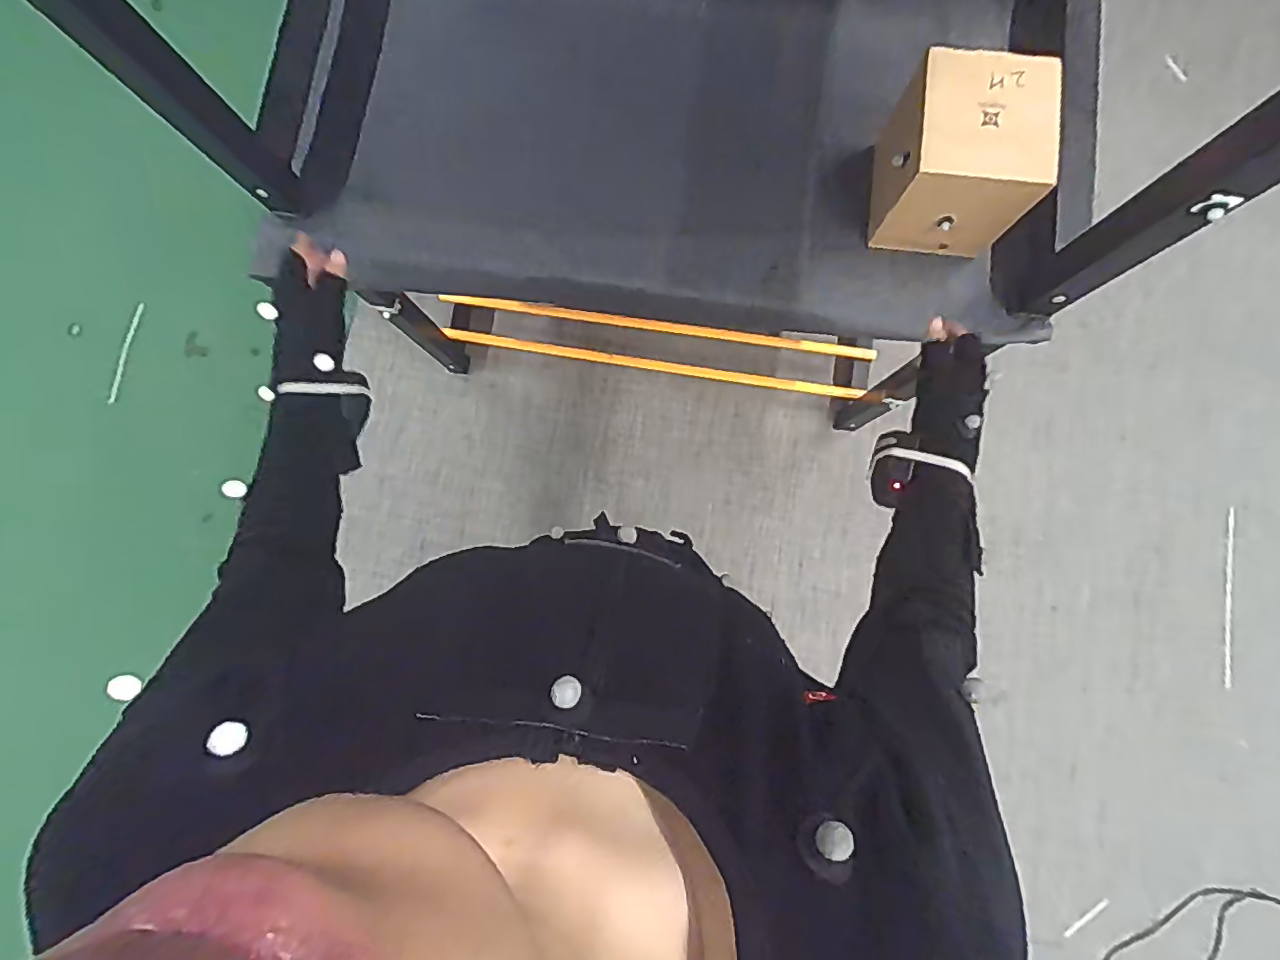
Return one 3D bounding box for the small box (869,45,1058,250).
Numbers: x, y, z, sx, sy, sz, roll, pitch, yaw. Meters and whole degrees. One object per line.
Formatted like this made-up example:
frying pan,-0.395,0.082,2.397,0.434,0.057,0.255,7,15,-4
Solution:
small box,0.431,-0.444,0.746,0.168,0.176,0.179,7,82,2
